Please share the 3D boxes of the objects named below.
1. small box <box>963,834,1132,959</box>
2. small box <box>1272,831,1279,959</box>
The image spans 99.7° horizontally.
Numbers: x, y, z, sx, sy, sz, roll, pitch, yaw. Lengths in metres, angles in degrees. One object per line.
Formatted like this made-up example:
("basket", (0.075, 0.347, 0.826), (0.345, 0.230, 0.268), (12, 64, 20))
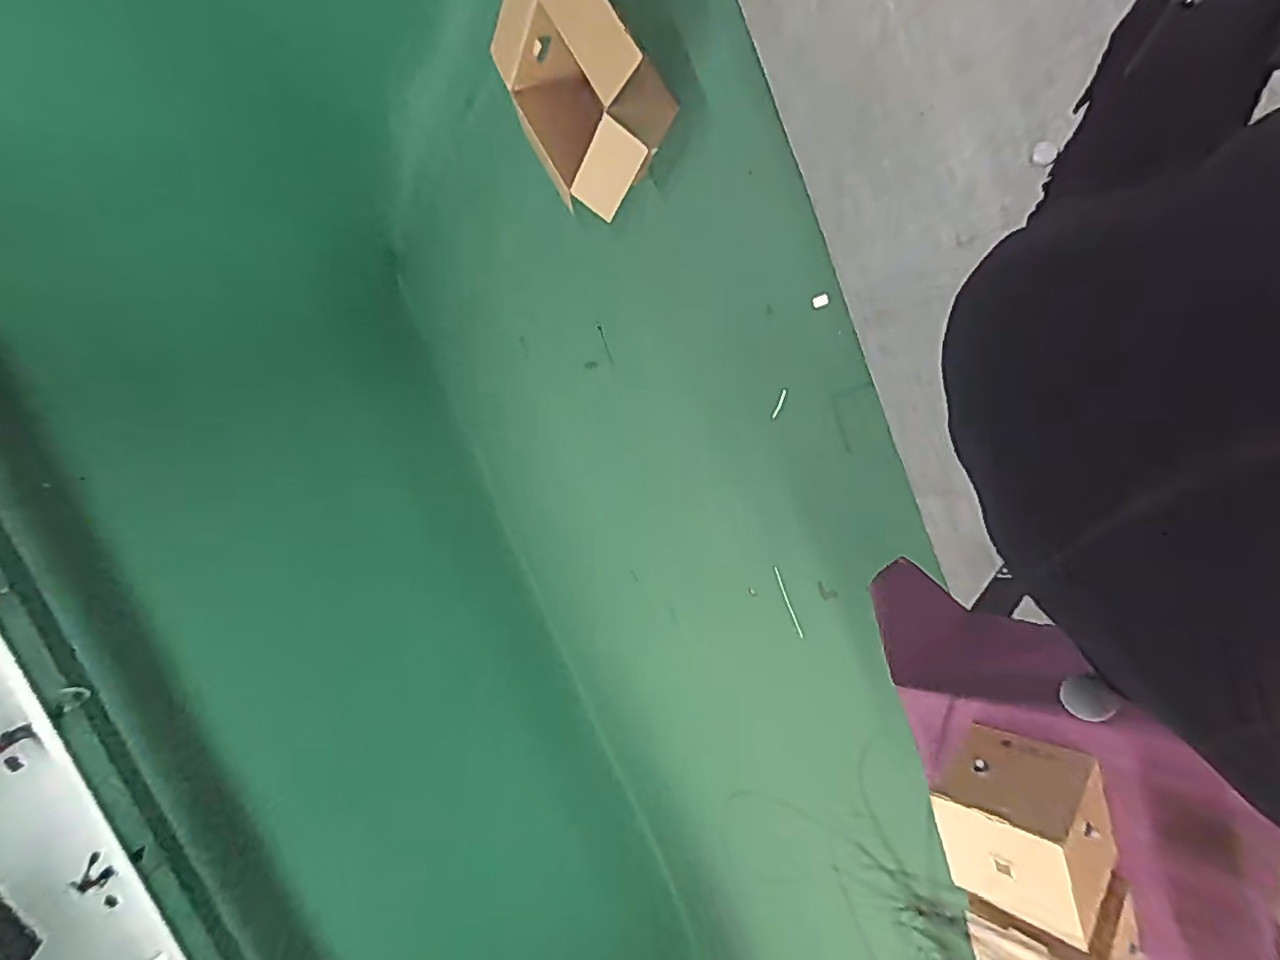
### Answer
("small box", (0.623, 0.697, 0.826), (0.168, 0.176, 0.179), (-1, 110, 52))
("small box", (0.747, 0.468, 0.521), (0.168, 0.176, 0.179), (-4, 109, 52))
